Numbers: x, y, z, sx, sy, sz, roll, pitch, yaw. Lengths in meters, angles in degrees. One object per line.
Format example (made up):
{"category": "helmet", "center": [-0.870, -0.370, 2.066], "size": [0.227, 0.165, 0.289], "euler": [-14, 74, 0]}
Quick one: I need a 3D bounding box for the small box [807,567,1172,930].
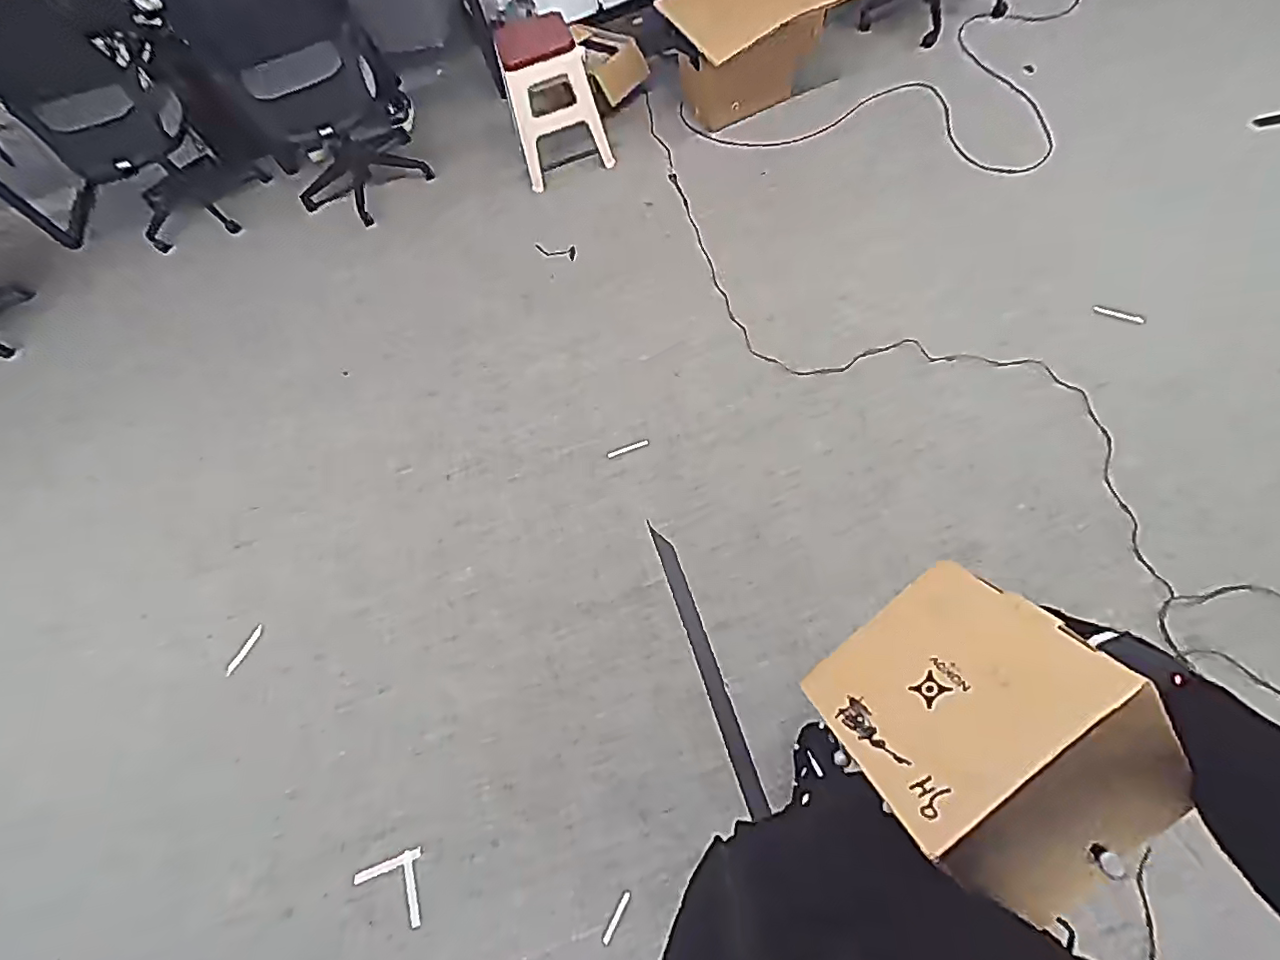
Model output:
{"category": "small box", "center": [0.283, 0.214, 0.450], "size": [0.179, 0.176, 0.168], "euler": [-41, 23, 2]}
